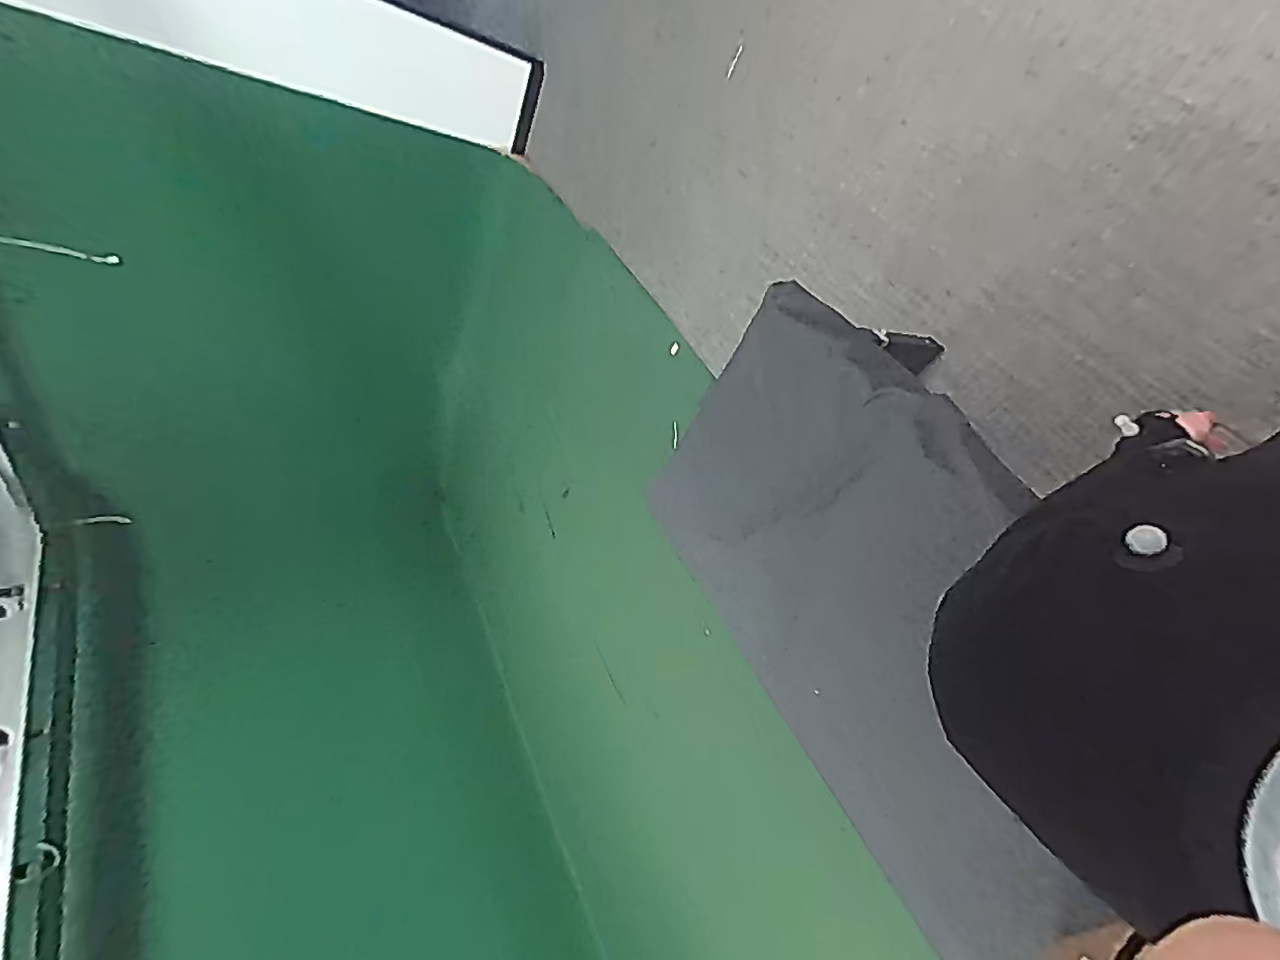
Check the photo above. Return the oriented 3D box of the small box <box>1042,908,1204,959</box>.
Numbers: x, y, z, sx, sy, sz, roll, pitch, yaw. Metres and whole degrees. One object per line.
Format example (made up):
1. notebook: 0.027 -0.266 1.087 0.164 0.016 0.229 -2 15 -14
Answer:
1. small box: 0.598 0.655 0.638 0.168 0.176 0.179 53 133 34
